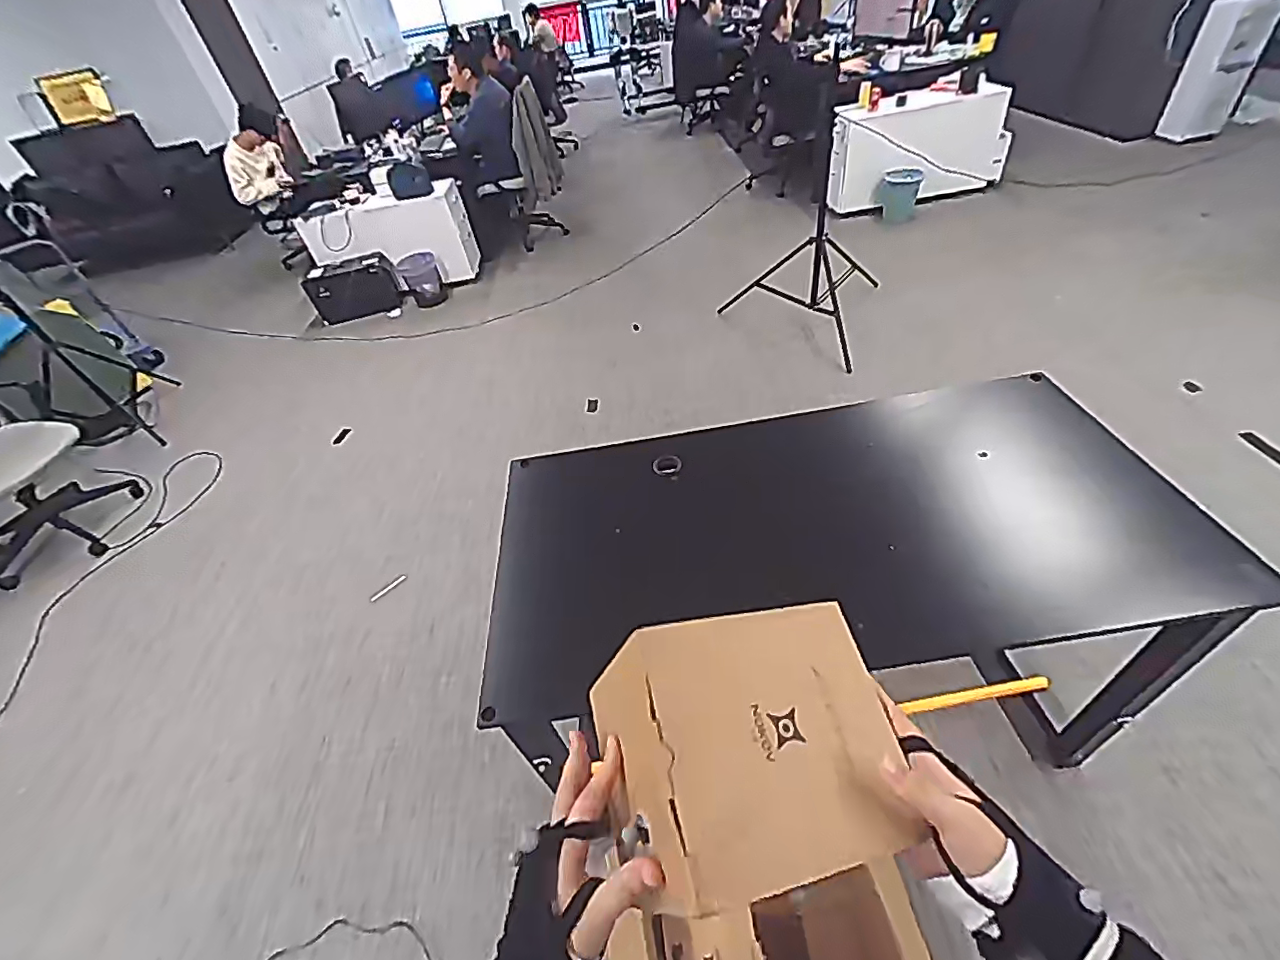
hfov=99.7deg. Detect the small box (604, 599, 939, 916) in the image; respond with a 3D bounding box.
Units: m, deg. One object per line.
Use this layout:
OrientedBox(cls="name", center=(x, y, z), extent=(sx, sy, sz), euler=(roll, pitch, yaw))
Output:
OrientedBox(cls="small box", center=(0.076, 0.211, 0.425), extent=(0.179, 0.176, 0.168), euler=(-4, 58, -20))
